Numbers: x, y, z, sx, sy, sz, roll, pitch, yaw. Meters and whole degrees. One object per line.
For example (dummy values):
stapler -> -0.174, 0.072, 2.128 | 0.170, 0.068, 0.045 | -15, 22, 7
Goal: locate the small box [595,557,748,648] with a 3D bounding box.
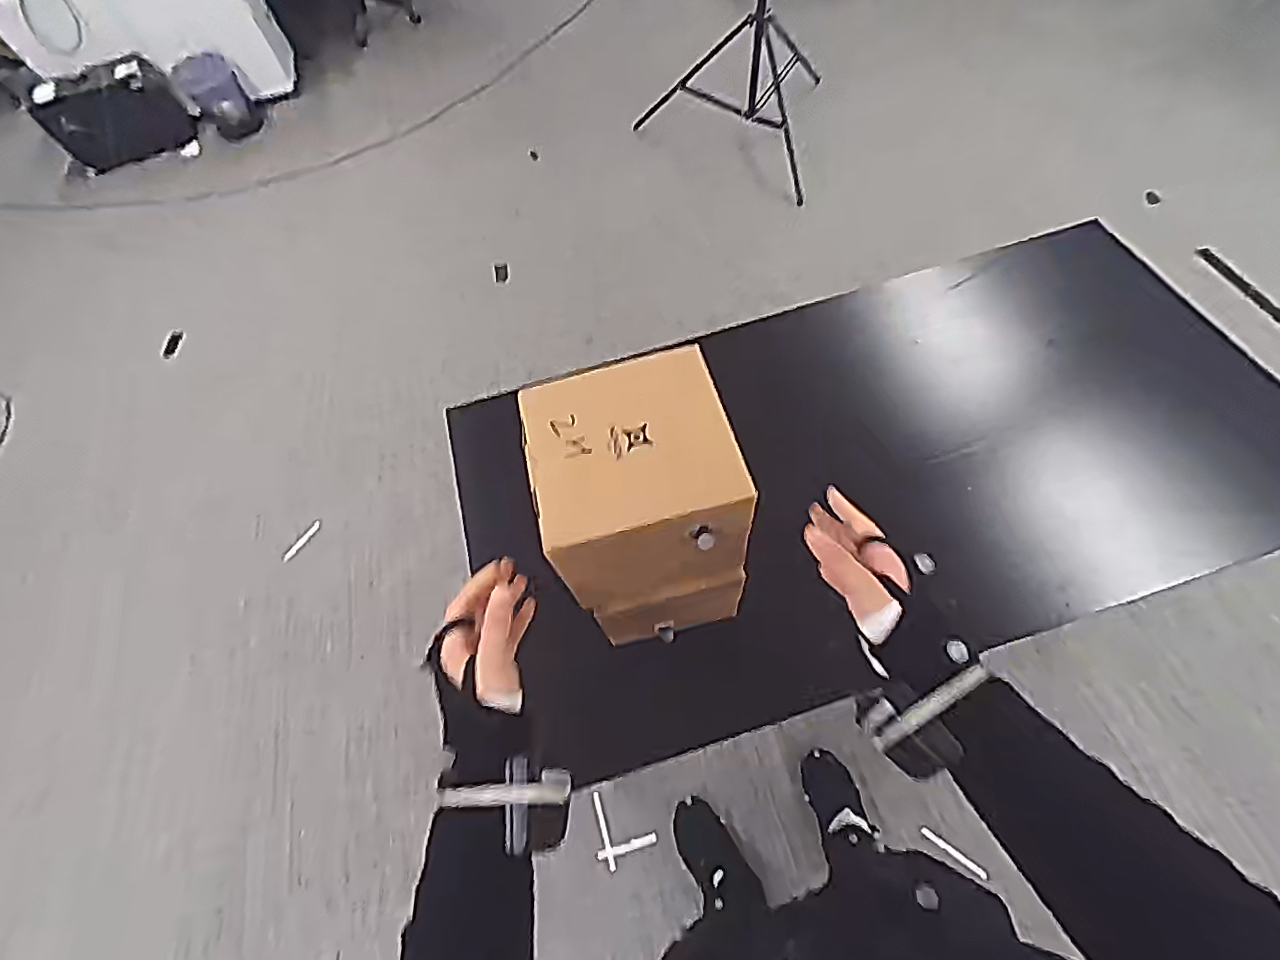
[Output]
small box -> 0.023, 0.090, 0.672 | 0.168, 0.176, 0.179 | -15, 63, -1

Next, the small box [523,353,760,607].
small box -> 0.001, 0.009, 0.530 | 0.179, 0.176, 0.168 | -15, 61, -1
